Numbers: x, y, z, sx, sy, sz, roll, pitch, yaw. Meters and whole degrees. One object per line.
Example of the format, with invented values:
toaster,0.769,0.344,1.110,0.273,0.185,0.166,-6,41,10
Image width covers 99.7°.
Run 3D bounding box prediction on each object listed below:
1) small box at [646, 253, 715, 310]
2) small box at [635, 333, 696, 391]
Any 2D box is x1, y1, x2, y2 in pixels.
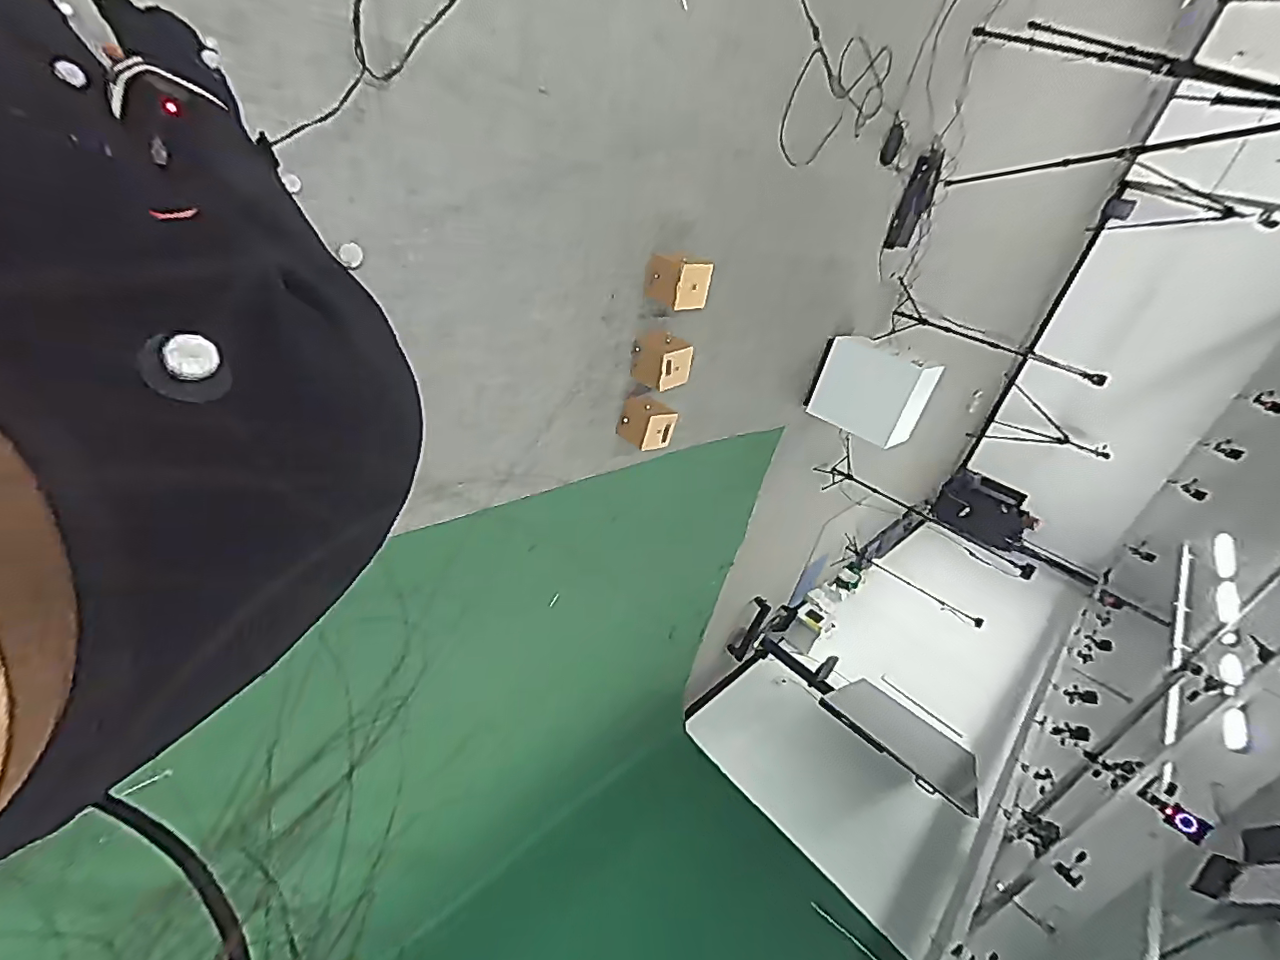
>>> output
small box,0.151,-0.751,2.036,0.179,0.176,0.168,-21,133,-39
small box,0.098,-0.485,2.202,0.179,0.176,0.168,-26,137,-37
